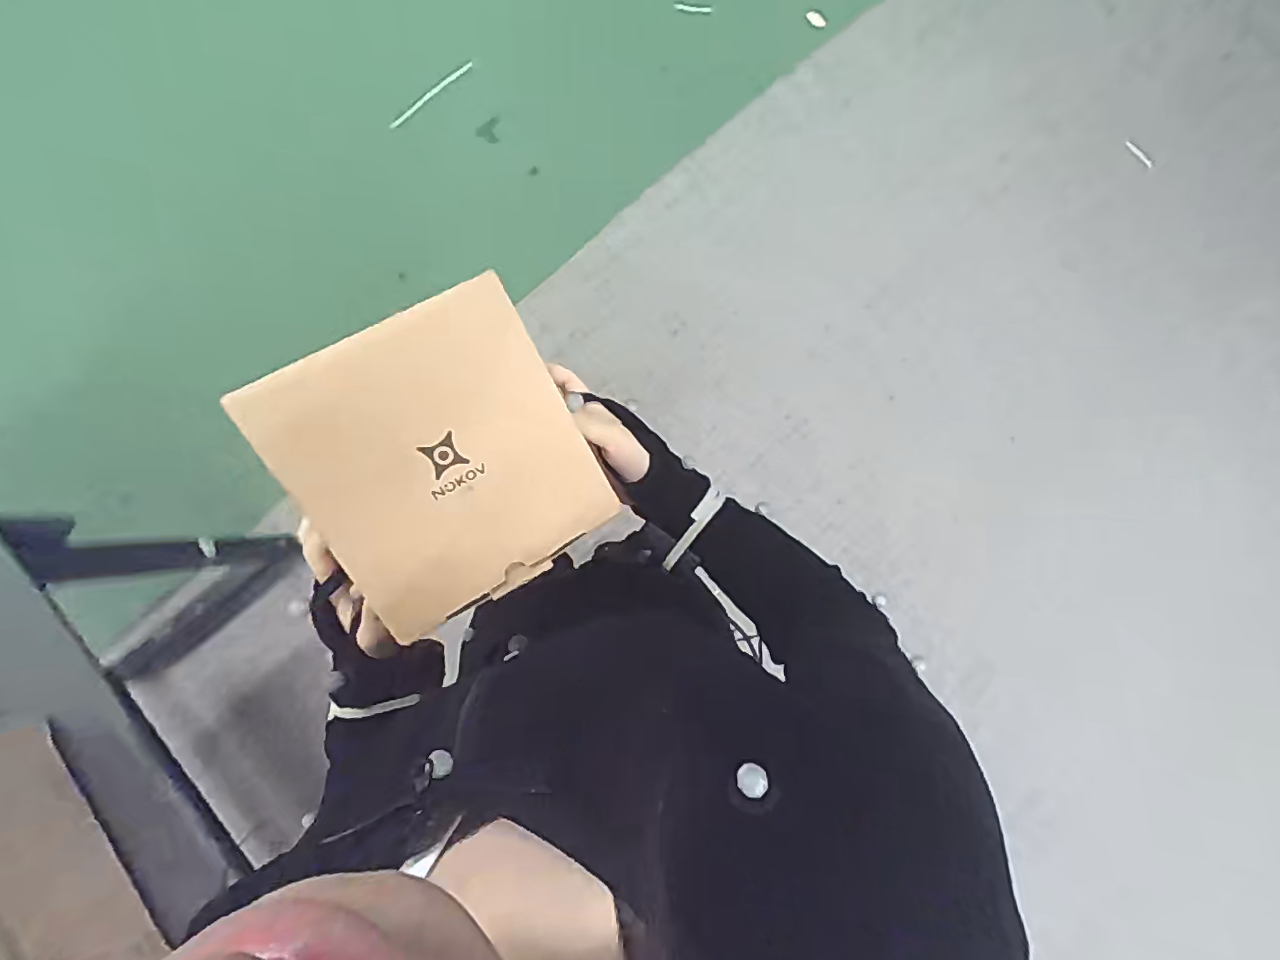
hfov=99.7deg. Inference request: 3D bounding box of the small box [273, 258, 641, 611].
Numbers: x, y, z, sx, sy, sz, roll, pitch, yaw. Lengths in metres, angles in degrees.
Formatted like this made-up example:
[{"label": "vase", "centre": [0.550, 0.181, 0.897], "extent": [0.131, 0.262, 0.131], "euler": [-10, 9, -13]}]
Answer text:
[{"label": "small box", "centre": [-0.128, -0.037, 0.413], "extent": [0.168, 0.176, 0.179], "euler": [-30, 107, -13]}]
